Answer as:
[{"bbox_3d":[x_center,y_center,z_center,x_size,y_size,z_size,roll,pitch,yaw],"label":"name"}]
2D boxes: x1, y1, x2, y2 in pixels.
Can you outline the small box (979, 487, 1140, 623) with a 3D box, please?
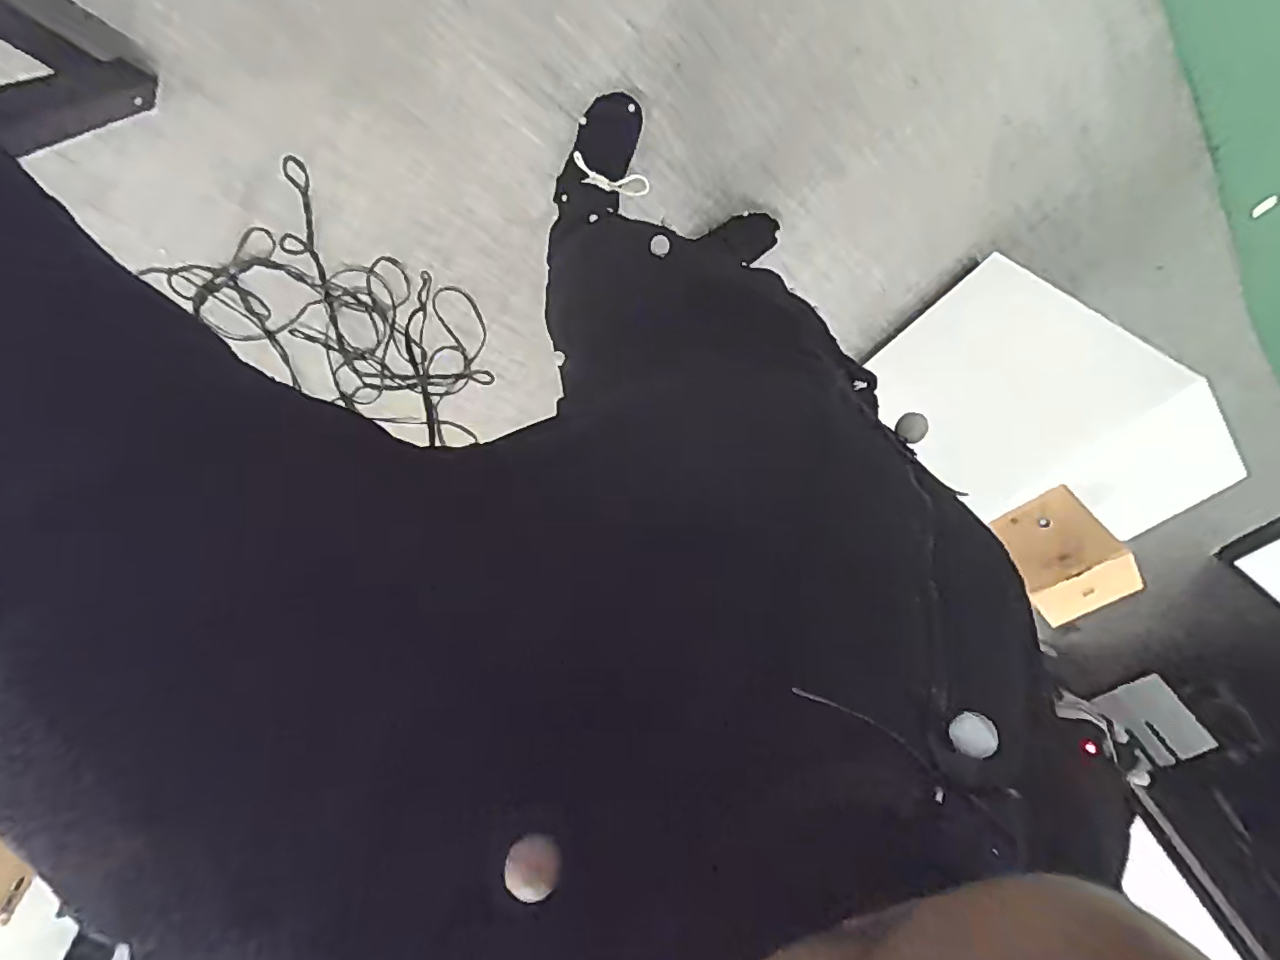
[{"bbox_3d":[0.798,0.142,1.038,0.168,0.176,0.179,-38,129,23],"label":"small box"}]
